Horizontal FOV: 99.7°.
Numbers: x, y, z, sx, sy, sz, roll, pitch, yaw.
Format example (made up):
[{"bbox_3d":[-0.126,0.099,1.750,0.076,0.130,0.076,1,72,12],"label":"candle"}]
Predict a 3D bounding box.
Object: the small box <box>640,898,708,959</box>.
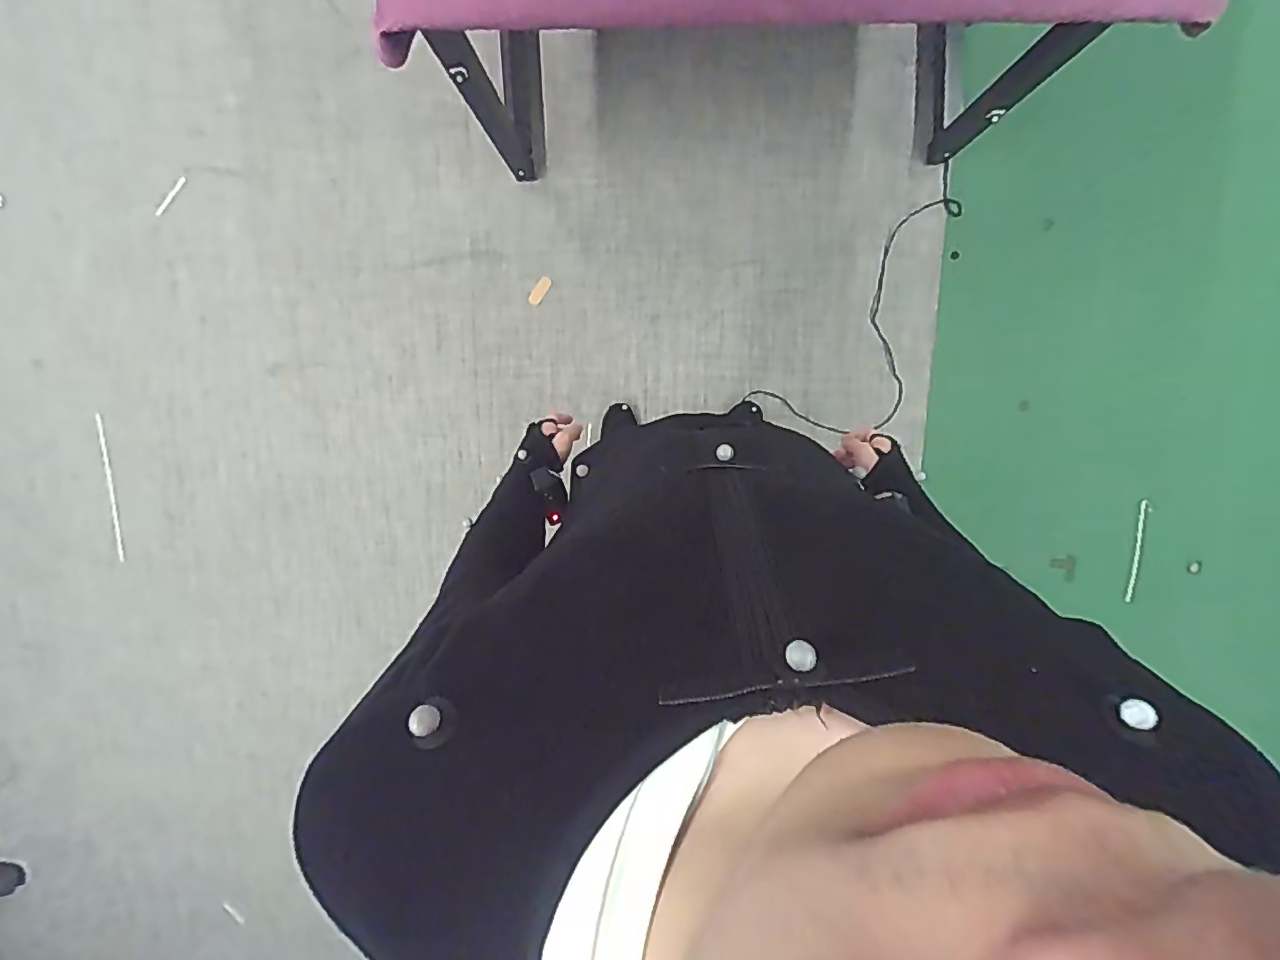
[{"bbox_3d":[0.095,1.374,1.583,0.179,0.176,0.168,9,100,0],"label":"small box"}]
